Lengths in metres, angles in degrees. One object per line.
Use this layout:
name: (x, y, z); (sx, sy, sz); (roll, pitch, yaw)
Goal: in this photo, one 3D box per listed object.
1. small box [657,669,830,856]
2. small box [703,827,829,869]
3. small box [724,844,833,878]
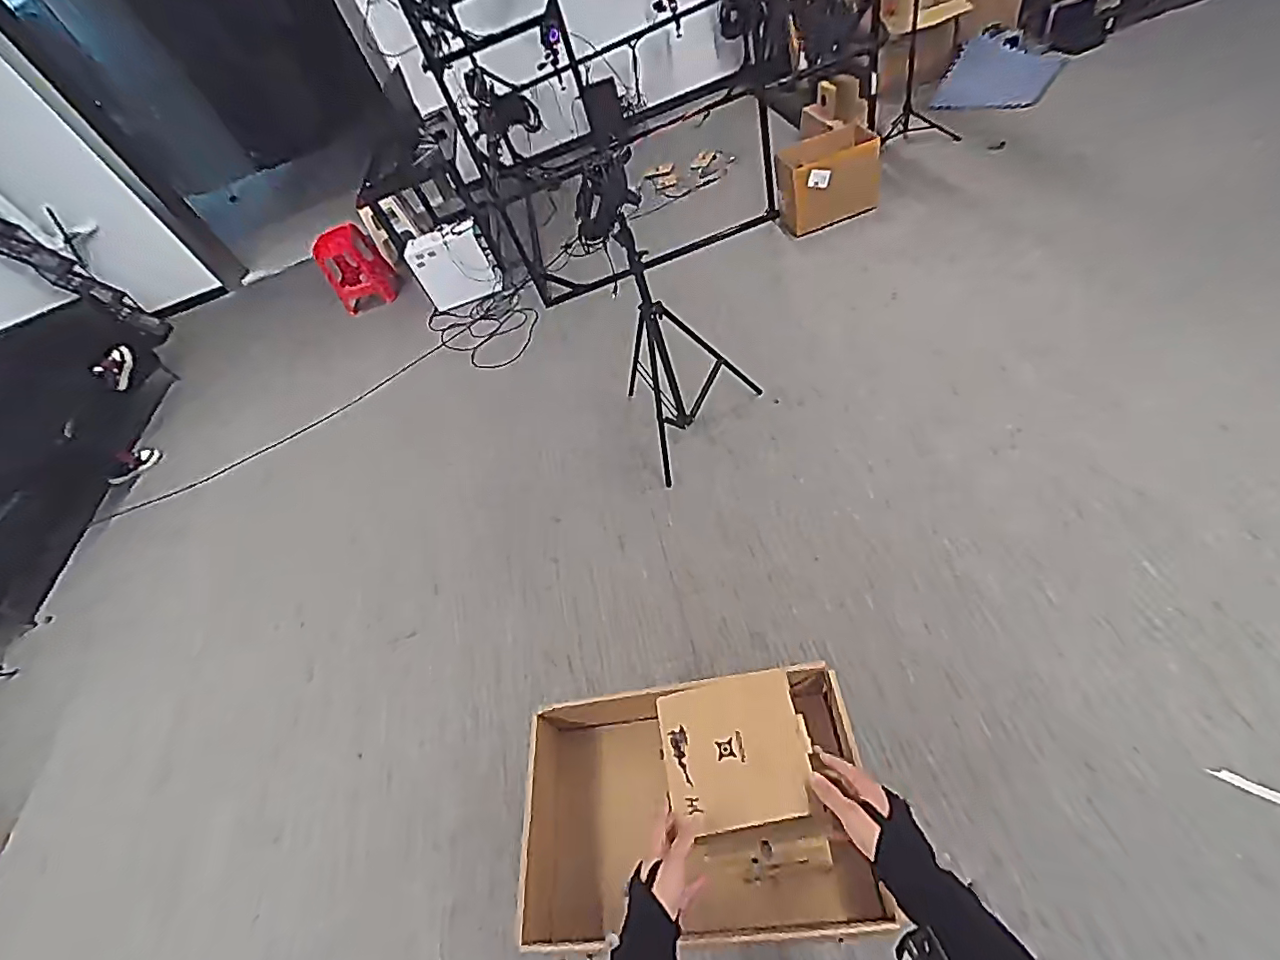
small box: (0.134, 0.371, 0.703); (0.179, 0.176, 0.168); (-16, 47, 8)
small box: (0.180, 0.474, 0.821); (0.168, 0.176, 0.179); (-15, 47, 9)
small box: (0.227, 0.576, 0.939); (0.168, 0.176, 0.179); (-15, 47, 9)
